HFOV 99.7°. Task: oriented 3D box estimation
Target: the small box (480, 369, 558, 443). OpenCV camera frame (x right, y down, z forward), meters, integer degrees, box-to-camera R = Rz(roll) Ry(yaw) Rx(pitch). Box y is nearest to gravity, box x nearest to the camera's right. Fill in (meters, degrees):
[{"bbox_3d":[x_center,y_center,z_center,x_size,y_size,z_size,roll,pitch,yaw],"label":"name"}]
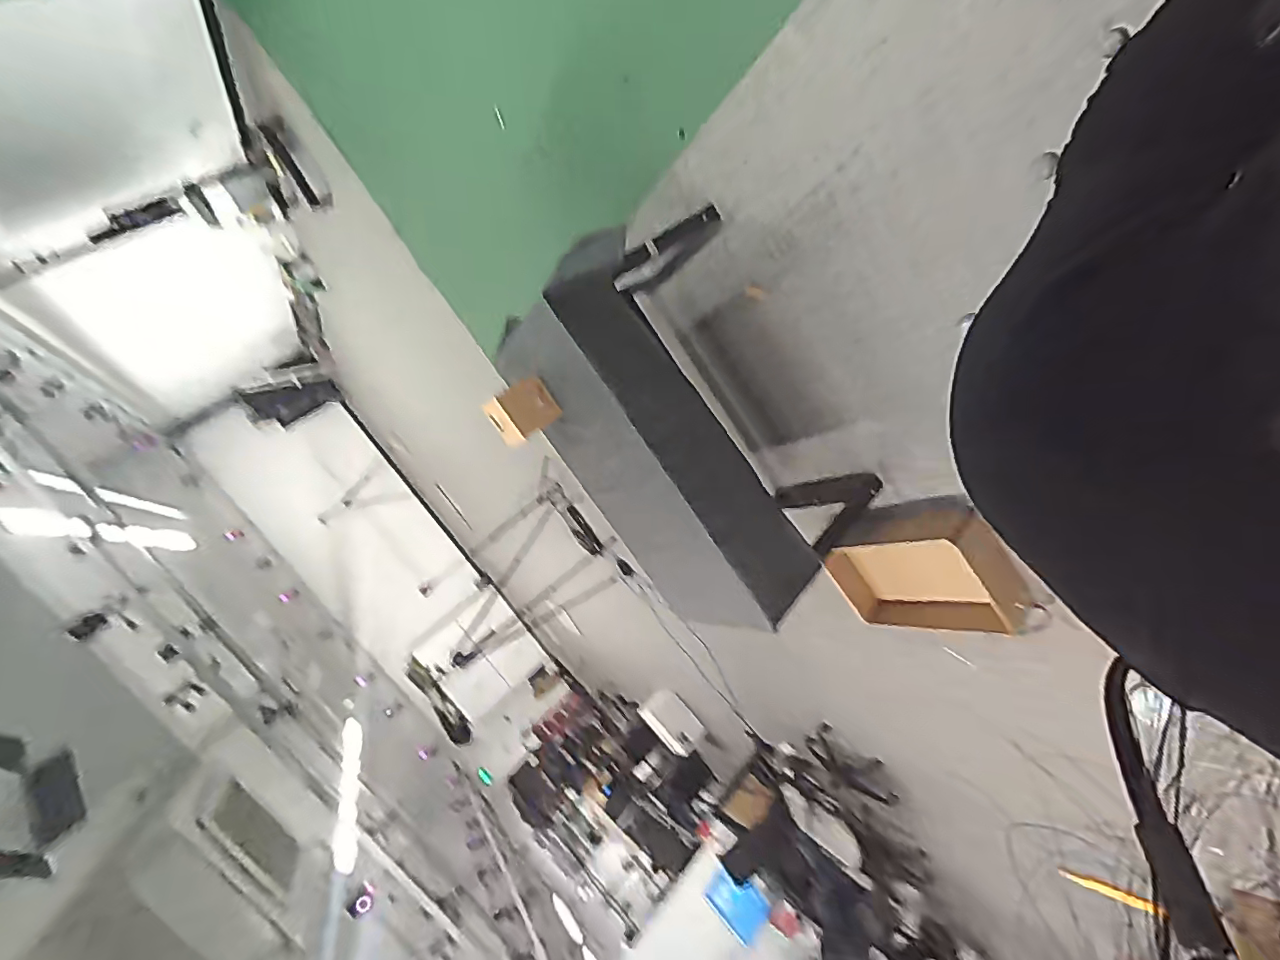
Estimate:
[{"bbox_3d":[-0.400,-0.245,1.805,0.168,0.176,0.179,56,152,-13],"label":"small box"}]
